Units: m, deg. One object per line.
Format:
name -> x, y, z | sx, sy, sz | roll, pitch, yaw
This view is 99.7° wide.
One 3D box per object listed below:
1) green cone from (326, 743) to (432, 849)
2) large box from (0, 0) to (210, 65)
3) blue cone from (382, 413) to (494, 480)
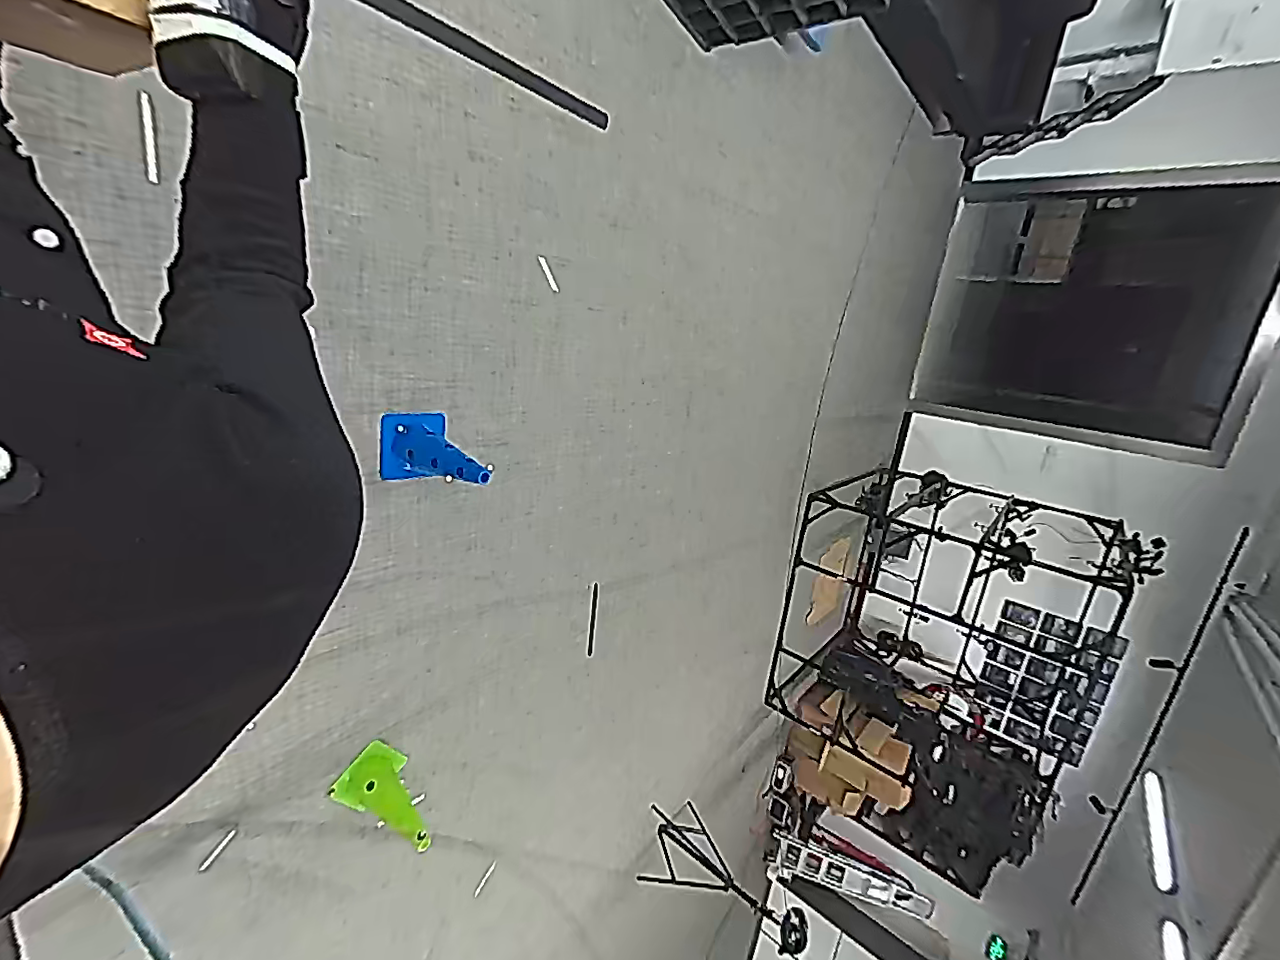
green cone -> -0.773, 1.033, 1.698 | 0.202, 0.368, 0.200 | -51, 141, -27
large box -> -0.515, -0.474, 0.262 | 0.408, 0.320, 0.320 | -13, 121, -51
blue cone -> -0.551, -0.063, 1.523 | 0.192, 0.380, 0.193 | -8, 112, -52
